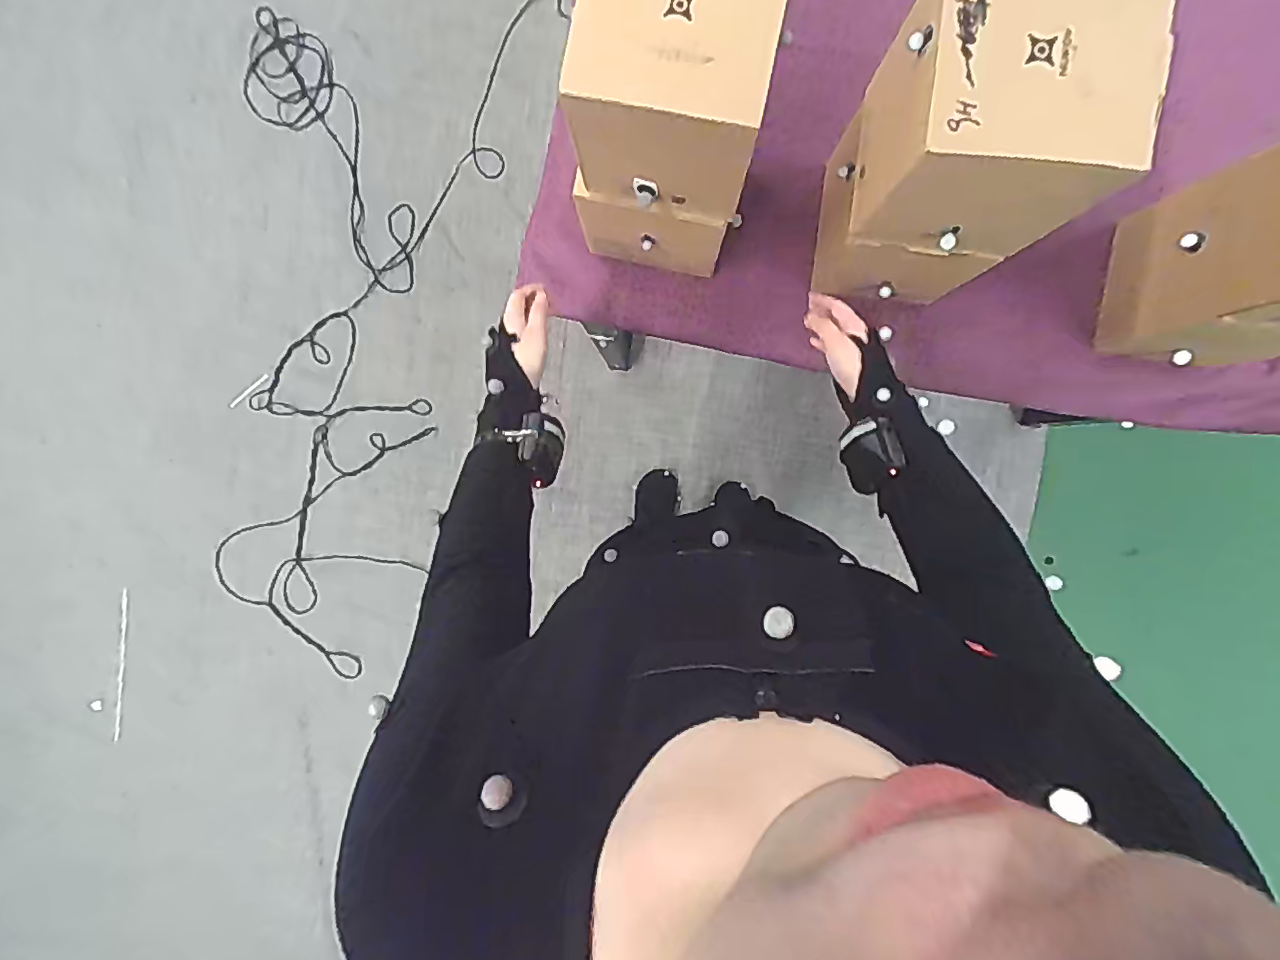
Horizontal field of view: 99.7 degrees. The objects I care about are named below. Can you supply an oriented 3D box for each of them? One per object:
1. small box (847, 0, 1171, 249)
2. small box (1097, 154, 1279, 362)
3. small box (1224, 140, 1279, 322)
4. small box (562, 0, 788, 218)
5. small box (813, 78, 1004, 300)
[{"bbox_3d":[0.316,-0.330,0.496,0.179,0.176,0.168,6,92,1],"label":"small box"},{"bbox_3d":[0.708,-0.252,0.654,0.168,0.176,0.179,9,94,2],"label":"small box"},{"bbox_3d":[0.705,-0.248,0.491,0.168,0.176,0.179,8,94,2],"label":"small box"},{"bbox_3d":[0.036,-0.379,0.503,0.168,0.176,0.179,11,93,2],"label":"small box"},{"bbox_3d":[0.322,-0.339,0.660,0.168,0.176,0.179,7,93,2],"label":"small box"}]
